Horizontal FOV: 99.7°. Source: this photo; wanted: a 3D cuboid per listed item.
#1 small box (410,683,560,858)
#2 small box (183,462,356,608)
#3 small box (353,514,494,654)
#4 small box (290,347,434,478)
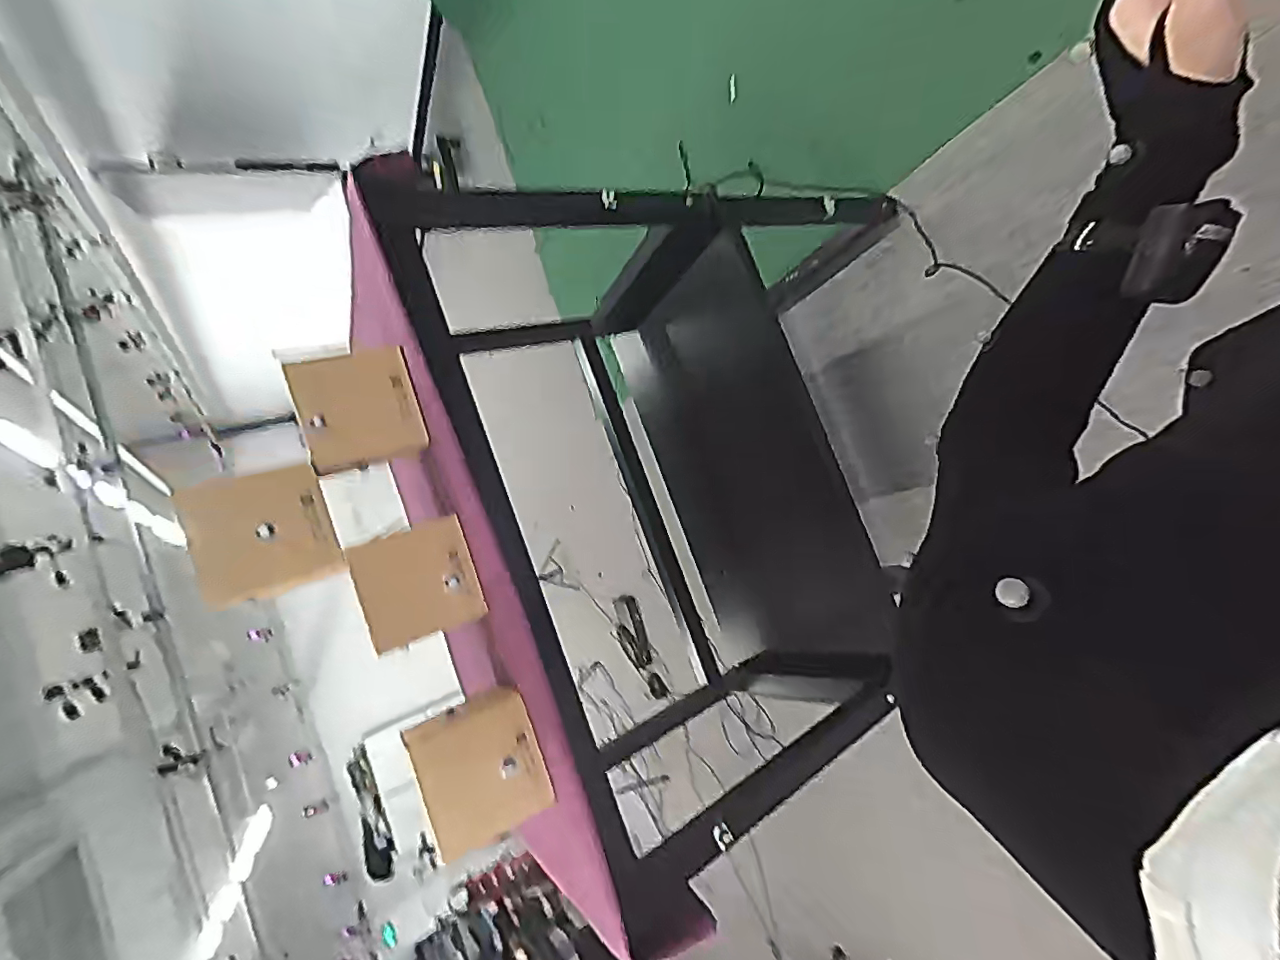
[{"bbox_3d":[-0.243,0.431,0.841,0.179,0.176,0.168,-31,79,59],"label":"small box"},{"bbox_3d":[-0.542,0.083,0.818,0.179,0.176,0.168,-24,85,60],"label":"small box"},{"bbox_3d":[-0.354,0.166,0.885,0.179,0.176,0.168,-24,85,59],"label":"small box"},{"bbox_3d":[-0.457,-0.109,0.905,0.179,0.176,0.168,-13,96,61],"label":"small box"}]
